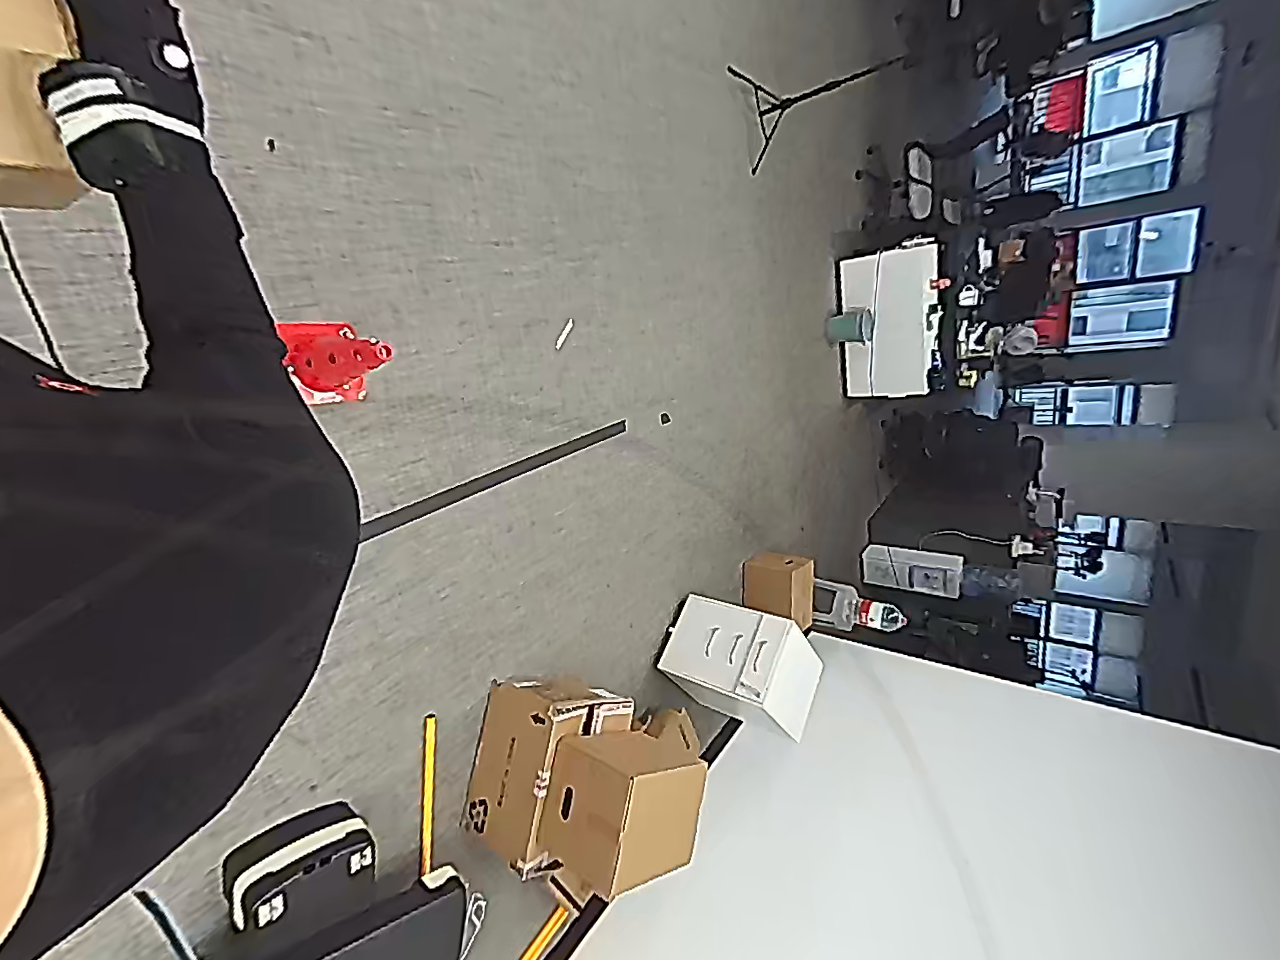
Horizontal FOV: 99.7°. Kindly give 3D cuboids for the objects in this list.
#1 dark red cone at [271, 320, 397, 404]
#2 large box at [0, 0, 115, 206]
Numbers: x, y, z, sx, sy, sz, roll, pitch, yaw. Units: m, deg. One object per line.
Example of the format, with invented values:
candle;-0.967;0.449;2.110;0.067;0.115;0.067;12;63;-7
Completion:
dark red cone;-0.670;-0.286;1.246;0.201;0.394;0.202;-20;109;-47
large box;-0.633;-0.350;0.296;0.408;0.320;0.320;-23;121;-47
